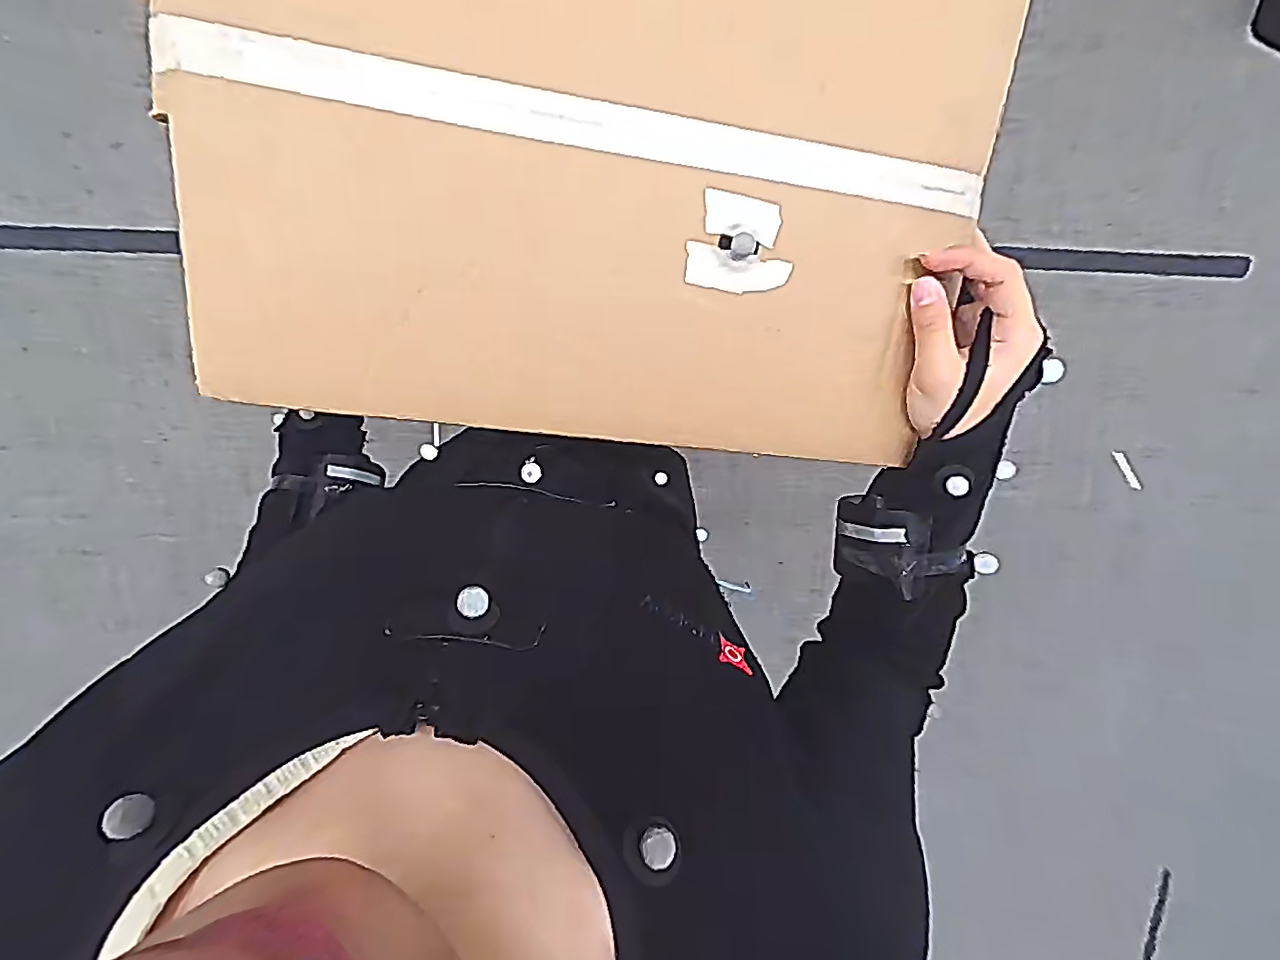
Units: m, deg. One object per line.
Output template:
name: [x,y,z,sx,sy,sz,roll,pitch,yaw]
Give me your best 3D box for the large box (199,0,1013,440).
large box: [-0.030,-0.223,0.420,0.408,0.320,0.320,5,105,-11]
